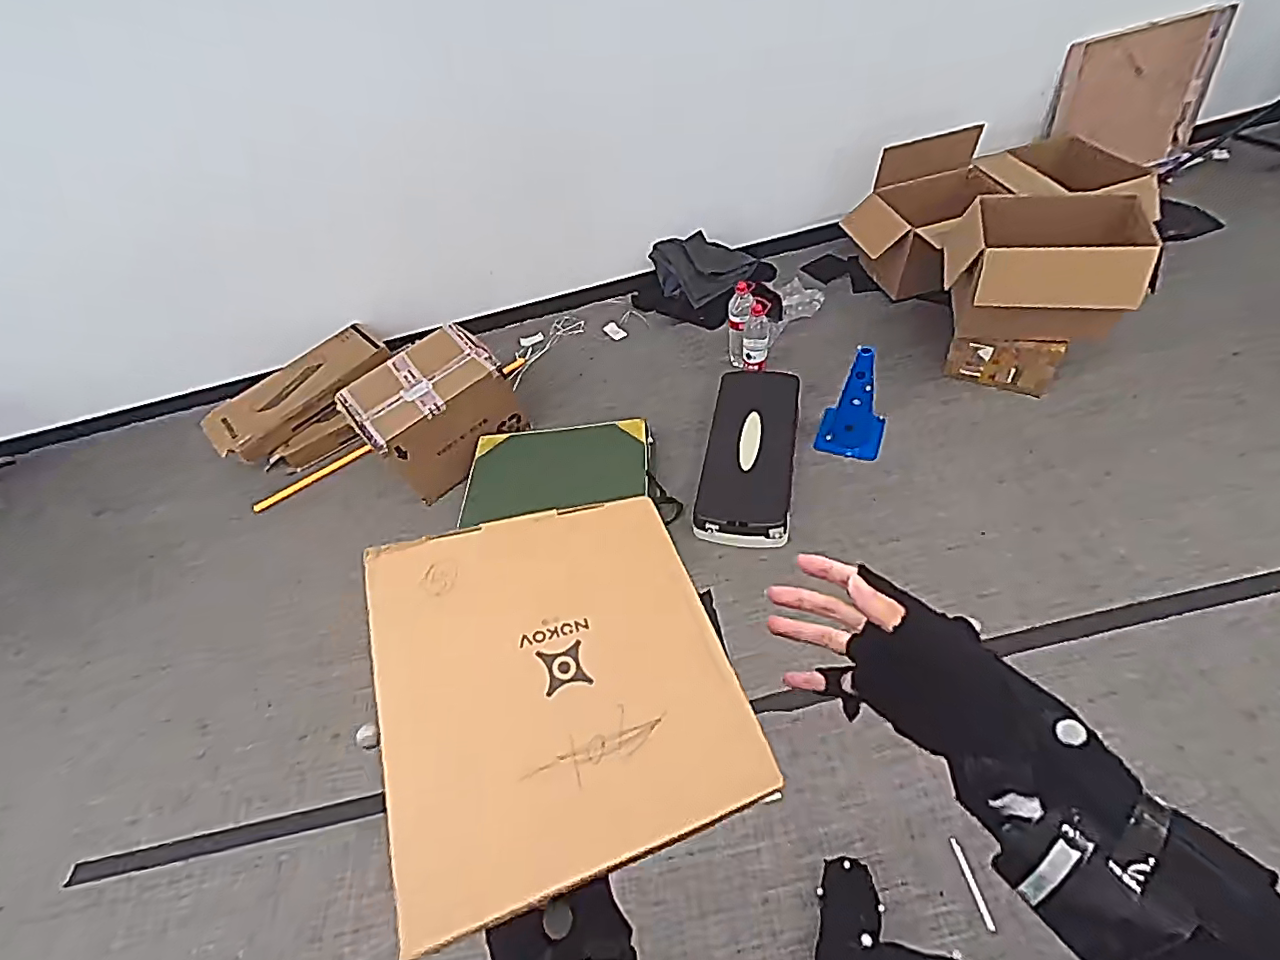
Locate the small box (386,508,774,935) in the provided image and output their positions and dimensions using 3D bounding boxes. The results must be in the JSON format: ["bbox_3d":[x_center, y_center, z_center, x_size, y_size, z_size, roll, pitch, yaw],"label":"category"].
[{"bbox_3d":[-0.054,0.145,0.338,0.168,0.176,0.179,-10,54,-22],"label":"small box"}]
